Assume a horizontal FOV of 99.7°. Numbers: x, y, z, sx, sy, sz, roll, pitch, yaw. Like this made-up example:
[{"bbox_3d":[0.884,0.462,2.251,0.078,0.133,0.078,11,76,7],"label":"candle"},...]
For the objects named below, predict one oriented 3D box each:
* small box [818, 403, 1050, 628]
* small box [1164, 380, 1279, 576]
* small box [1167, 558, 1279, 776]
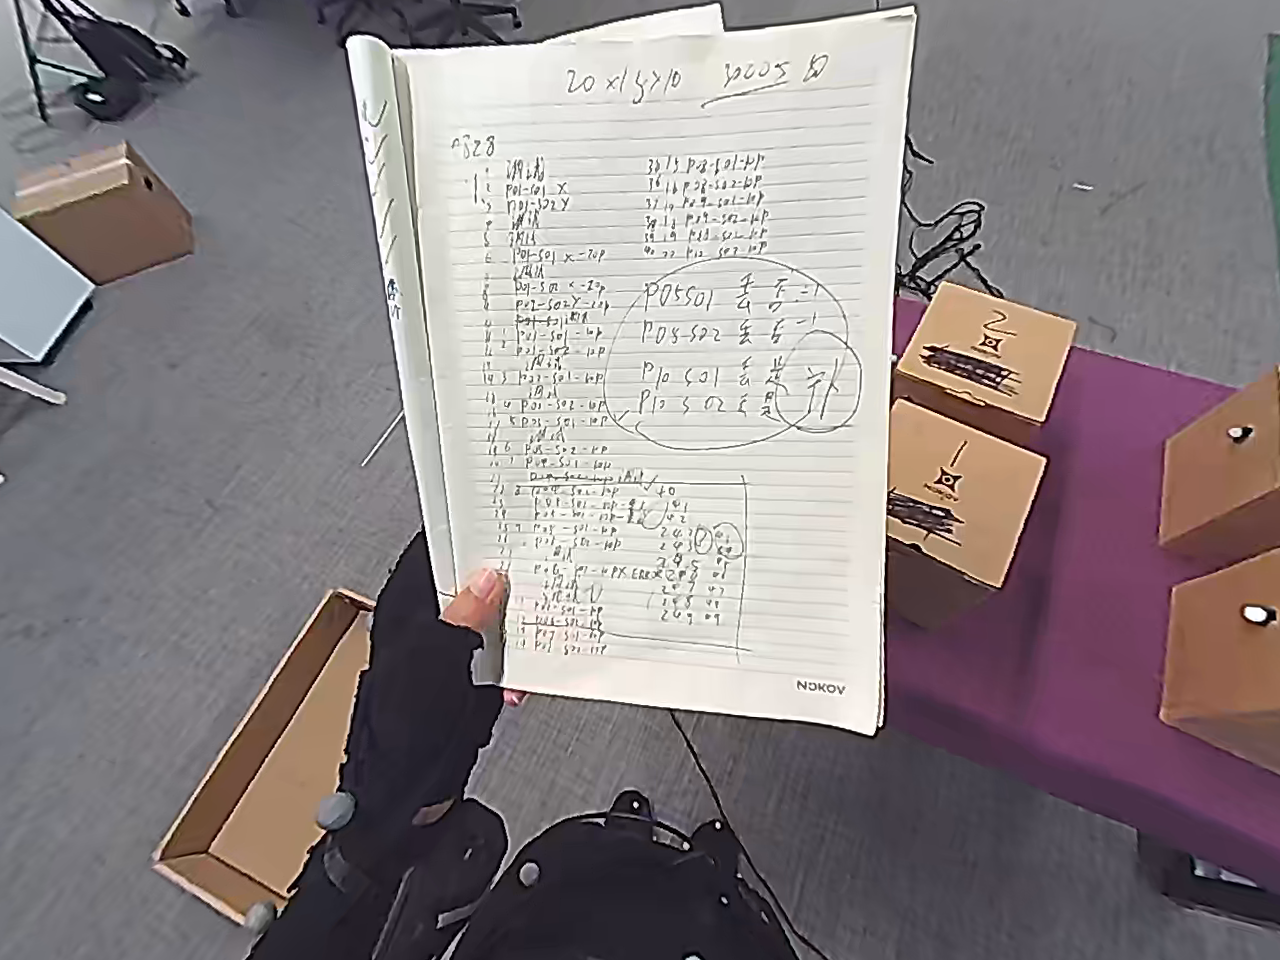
[{"bbox_3d":[0.329,0.049,0.641,0.168,0.176,0.179,29,67,18],"label":"small box"},{"bbox_3d":[0.763,0.013,0.624,0.168,0.176,0.179,23,67,16],"label":"small box"},{"bbox_3d":[0.680,0.200,0.532,0.168,0.176,0.179,25,67,17],"label":"small box"}]
